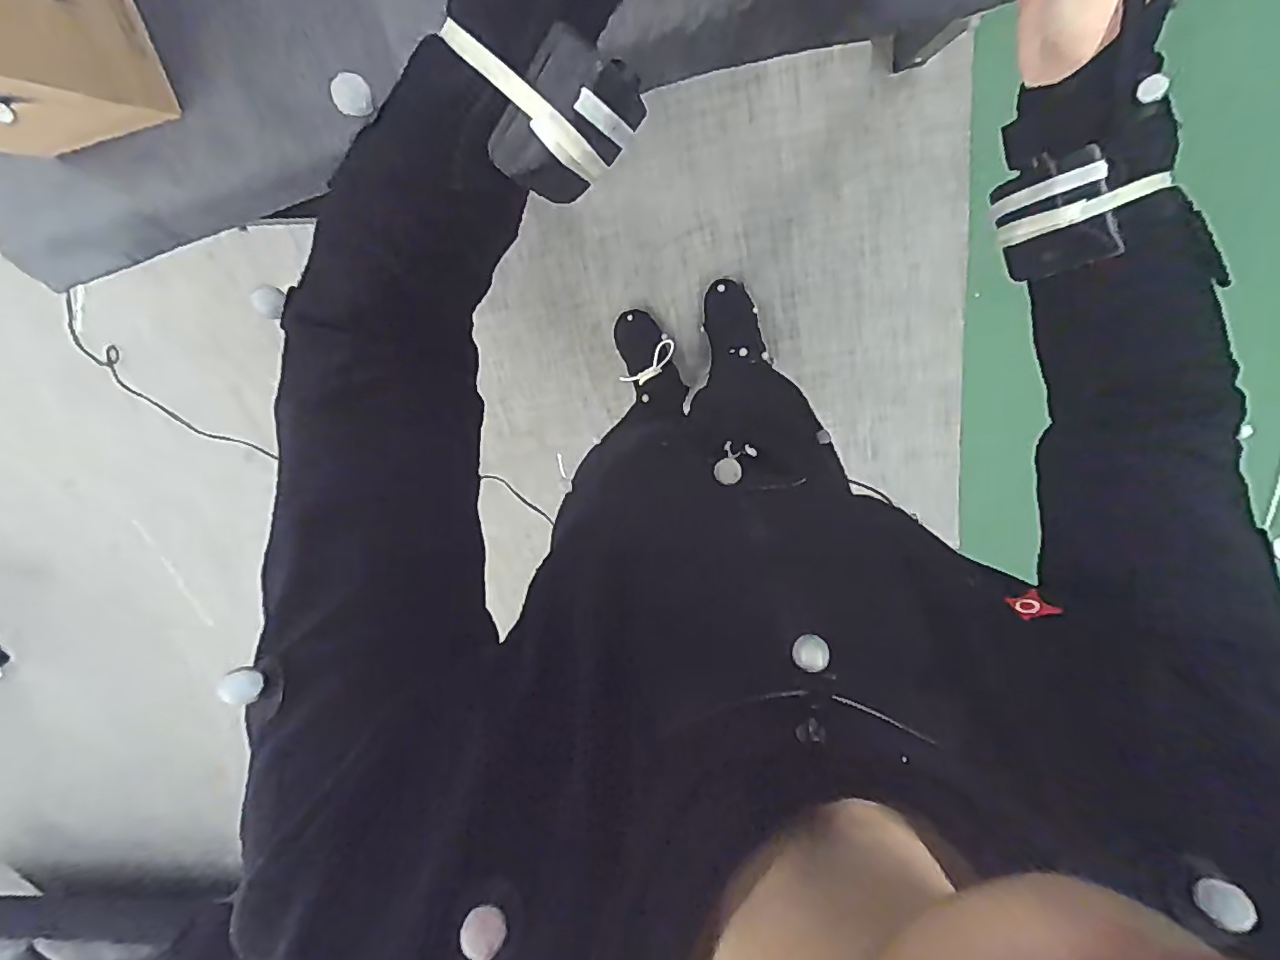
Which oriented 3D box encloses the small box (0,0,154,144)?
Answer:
[{"bbox_3d":[-0.551,-0.388,0.431,0.179,0.176,0.168,-6,113,12],"label":"small box"}]
